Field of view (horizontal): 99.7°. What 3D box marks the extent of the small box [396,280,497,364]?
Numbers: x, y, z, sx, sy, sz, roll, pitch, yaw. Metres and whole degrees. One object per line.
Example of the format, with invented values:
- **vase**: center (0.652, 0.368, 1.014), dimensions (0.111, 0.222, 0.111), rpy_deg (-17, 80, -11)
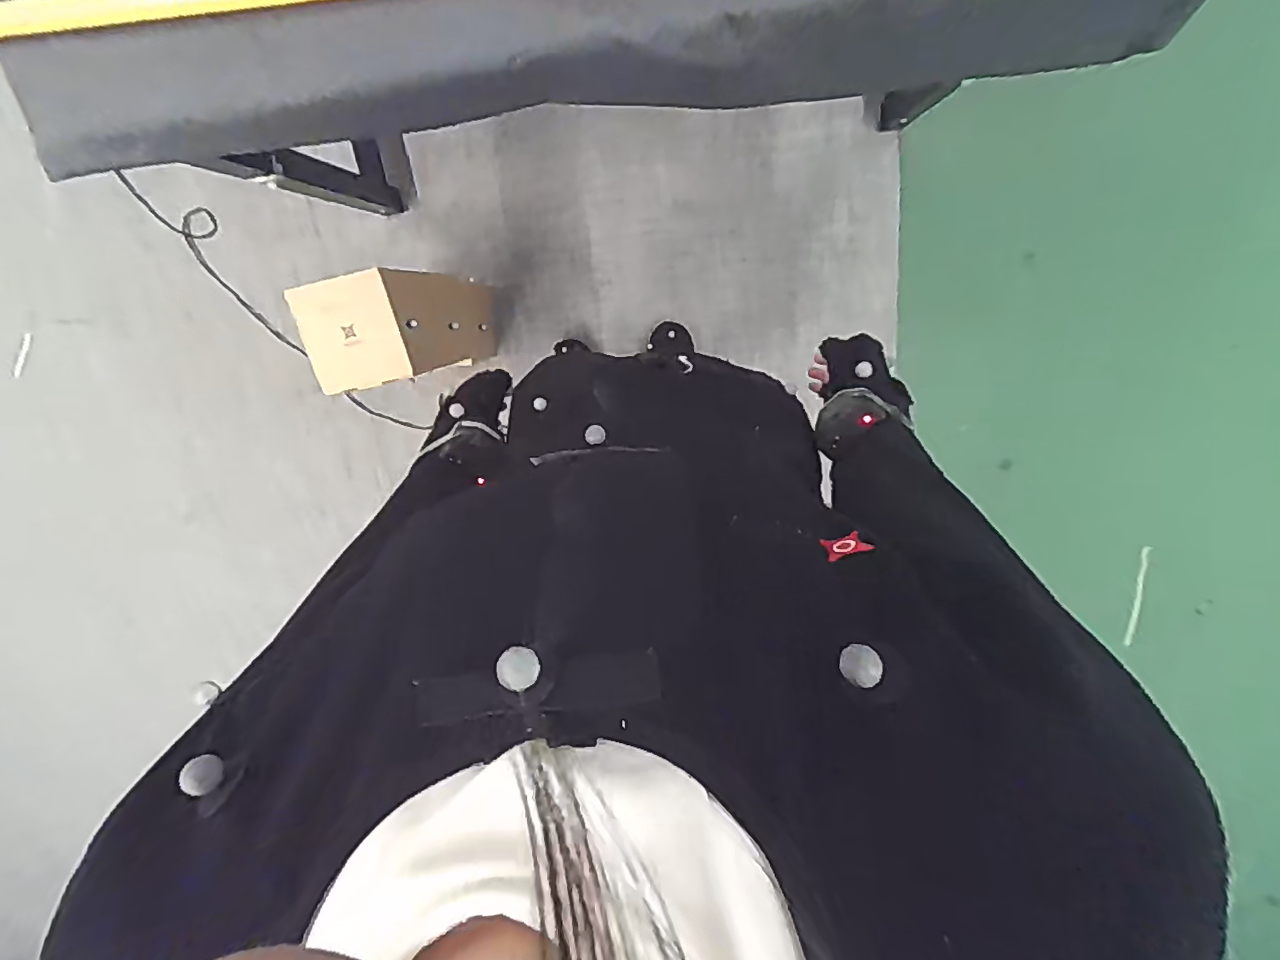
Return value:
- **small box**: center (-0.443, -0.372, 1.261), dimensions (0.168, 0.176, 0.179), rpy_deg (2, 110, 3)
